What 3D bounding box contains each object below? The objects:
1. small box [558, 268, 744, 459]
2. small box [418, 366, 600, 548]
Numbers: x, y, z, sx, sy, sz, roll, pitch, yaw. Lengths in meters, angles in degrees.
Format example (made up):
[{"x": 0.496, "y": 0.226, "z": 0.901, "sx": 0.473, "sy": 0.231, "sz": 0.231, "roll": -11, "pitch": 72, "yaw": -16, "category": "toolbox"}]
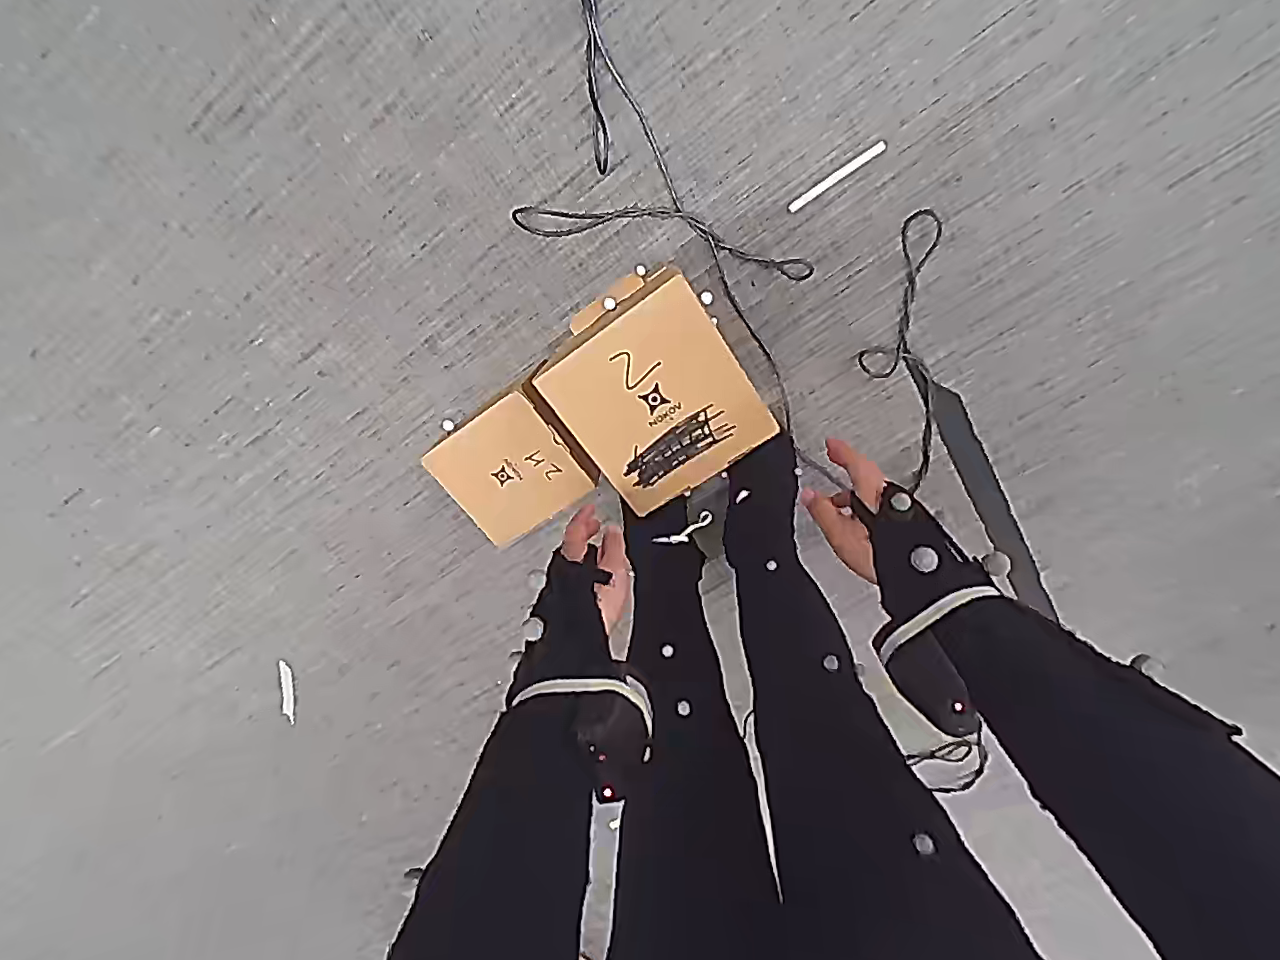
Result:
[{"x": 0.014, "y": -0.163, "z": 0.727, "sx": 0.168, "sy": 0.176, "sz": 0.179, "roll": -33, "pitch": 110, "yaw": 14, "category": "small box"}, {"x": -0.174, "y": -0.039, "z": 0.783, "sx": 0.179, "sy": 0.176, "sz": 0.168, "roll": -31, "pitch": 110, "yaw": 14, "category": "small box"}]
